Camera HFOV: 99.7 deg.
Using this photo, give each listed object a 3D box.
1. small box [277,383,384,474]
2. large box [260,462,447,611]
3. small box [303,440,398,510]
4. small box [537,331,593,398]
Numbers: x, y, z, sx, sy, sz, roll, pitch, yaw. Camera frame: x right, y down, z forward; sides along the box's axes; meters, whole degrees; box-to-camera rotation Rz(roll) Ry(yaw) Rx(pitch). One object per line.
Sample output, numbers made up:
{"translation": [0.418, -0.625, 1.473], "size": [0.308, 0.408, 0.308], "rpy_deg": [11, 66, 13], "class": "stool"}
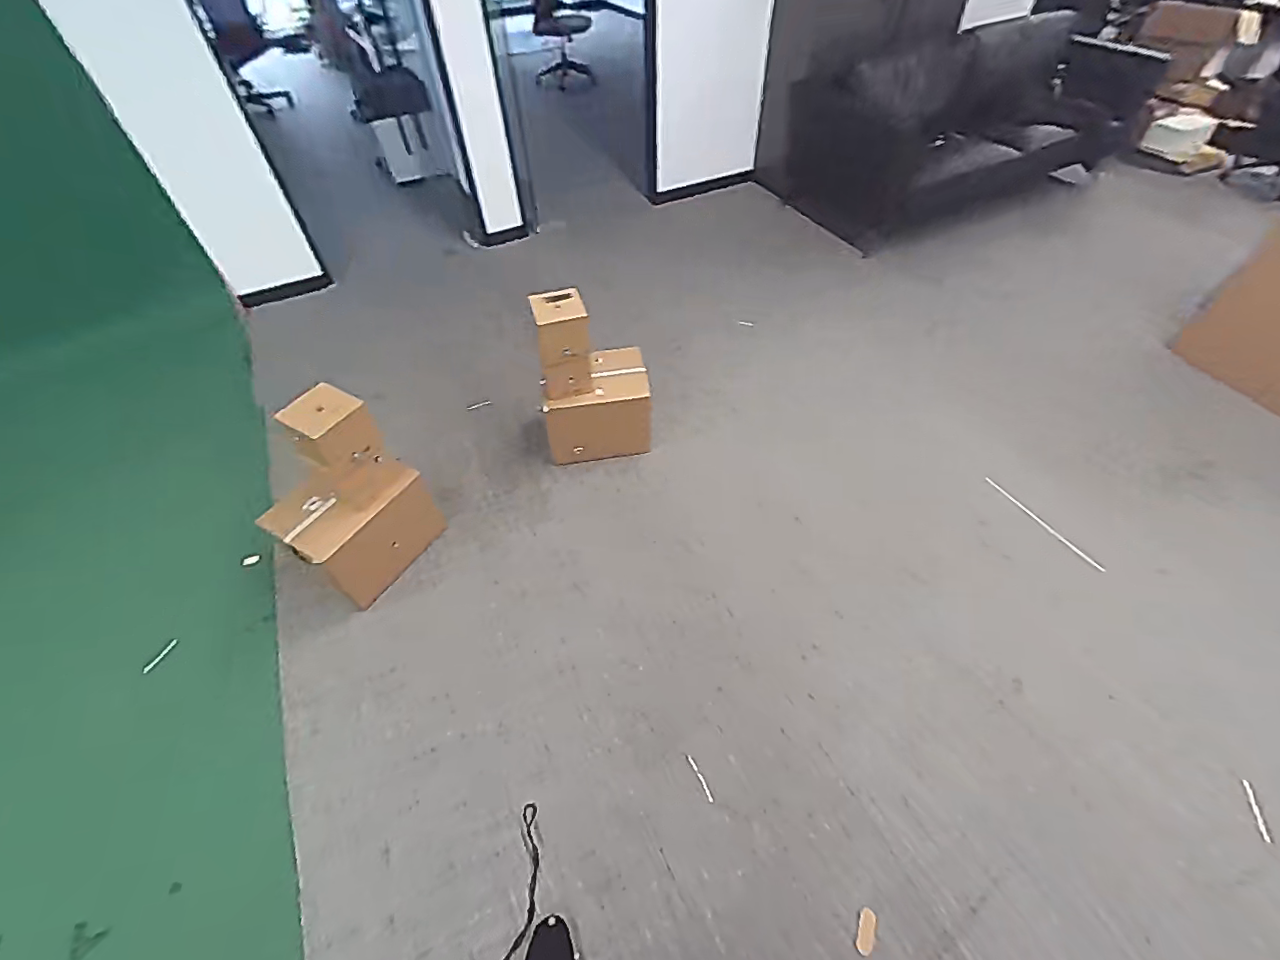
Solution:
{"translation": [-0.879, -0.144, 1.551], "size": [0.179, 0.176, 0.168], "rpy_deg": [25, 55, 20], "class": "small box"}
{"translation": [-0.942, 0.156, 1.835], "size": [0.320, 0.320, 0.408], "rpy_deg": [22, 55, 21], "class": "large box"}
{"translation": [-0.884, -0.040, 1.677], "size": [0.168, 0.176, 0.179], "rpy_deg": [23, 54, 19], "class": "small box"}
{"translation": [-0.271, -0.417, 1.985], "size": [0.168, 0.176, 0.179], "rpy_deg": [-13, 52, -10], "class": "small box"}
